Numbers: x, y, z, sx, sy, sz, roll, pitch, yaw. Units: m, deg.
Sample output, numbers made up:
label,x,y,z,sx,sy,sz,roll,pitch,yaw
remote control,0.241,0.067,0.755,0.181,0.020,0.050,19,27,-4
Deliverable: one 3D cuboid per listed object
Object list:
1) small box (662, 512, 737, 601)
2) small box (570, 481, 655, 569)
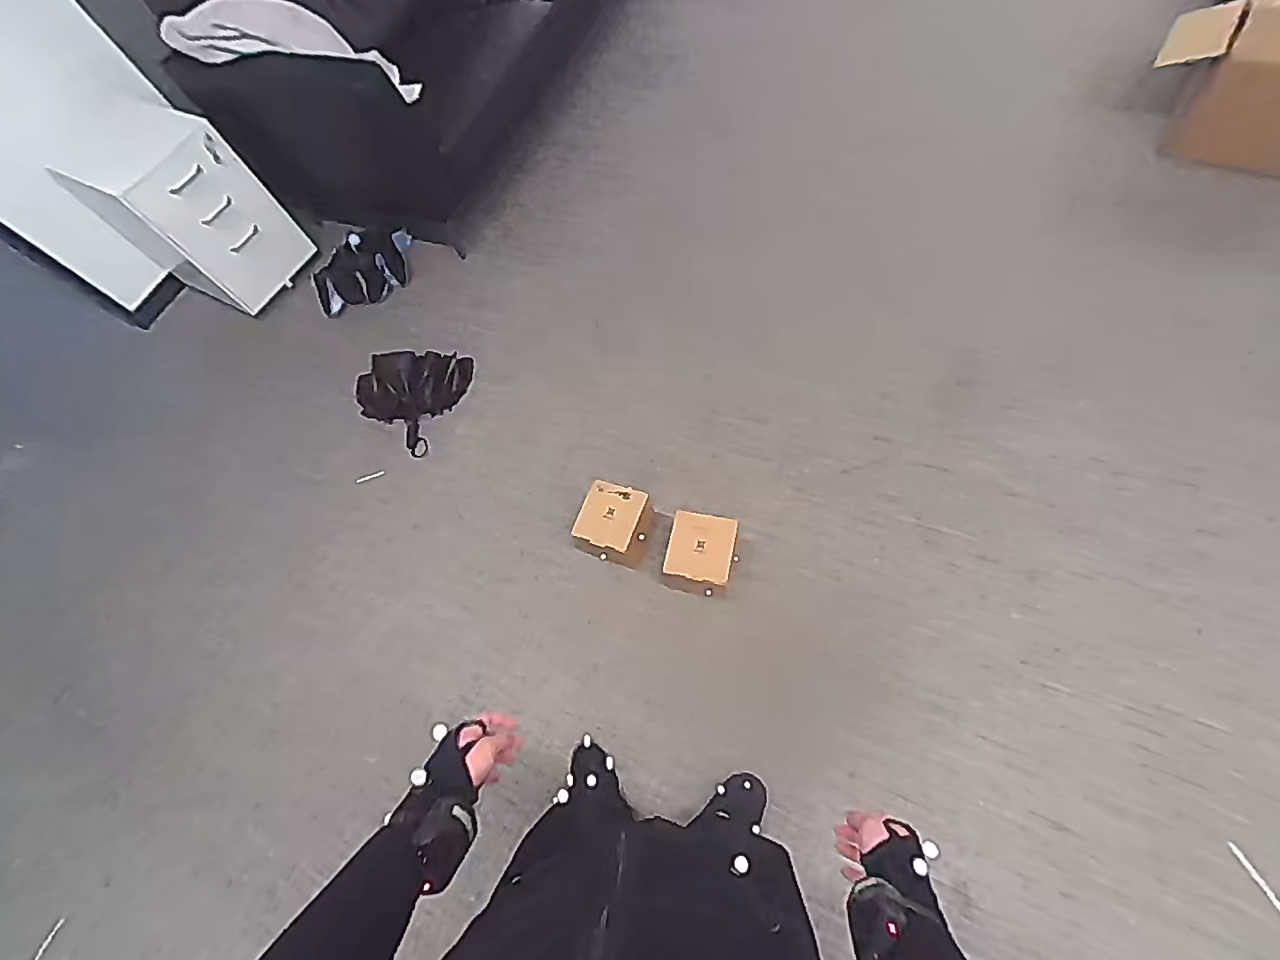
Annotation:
label,x,y,z,sx,sy,sz,roll,pitch,yaw
small box,0.164,0.208,1.437,0.168,0.176,0.179,9,65,13
small box,-0.068,0.131,1.516,0.168,0.176,0.179,16,69,18
